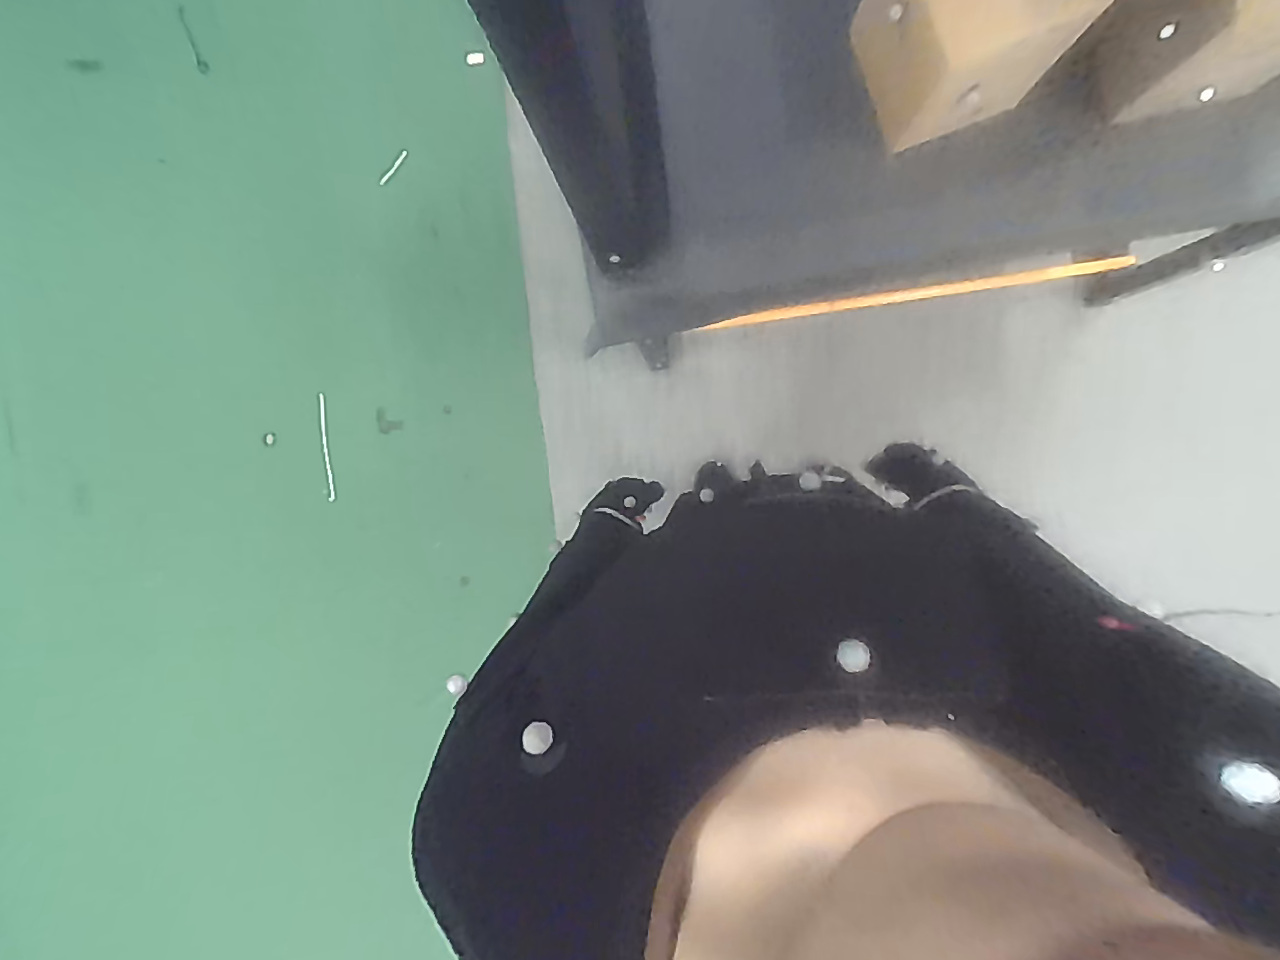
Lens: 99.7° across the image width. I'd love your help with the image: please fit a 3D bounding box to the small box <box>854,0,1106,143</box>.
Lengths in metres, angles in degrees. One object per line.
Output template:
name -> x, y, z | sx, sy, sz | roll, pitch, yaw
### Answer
small box -> 0.371, -0.530, 0.625 | 0.168, 0.176, 0.179 | -18, 90, 6
